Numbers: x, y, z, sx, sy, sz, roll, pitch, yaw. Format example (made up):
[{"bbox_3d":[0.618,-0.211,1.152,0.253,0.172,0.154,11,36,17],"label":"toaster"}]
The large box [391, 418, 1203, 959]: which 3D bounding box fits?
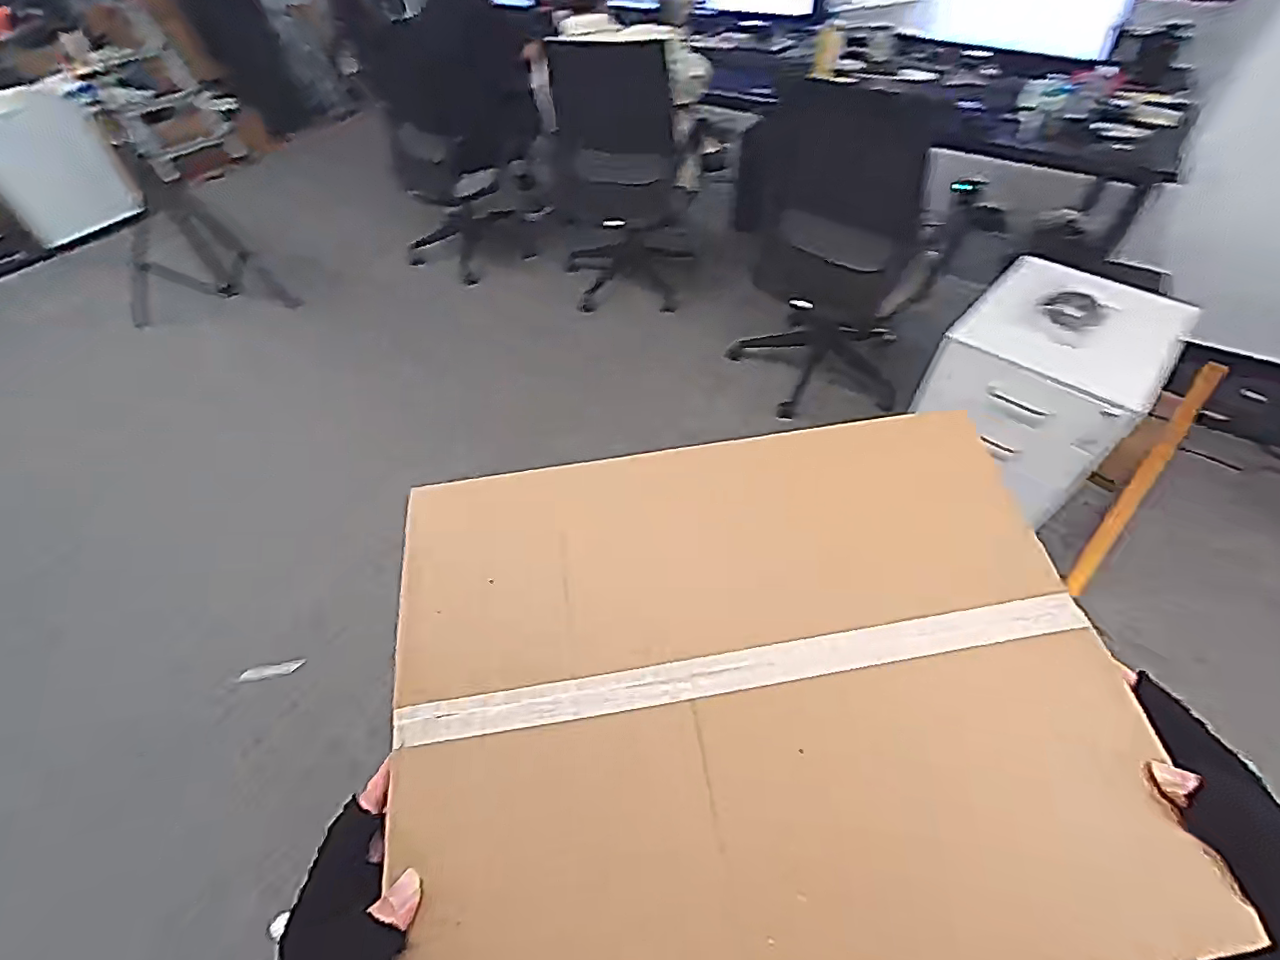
[{"bbox_3d":[0.062,0.190,0.451,0.408,0.320,0.320,-10,60,-3],"label":"large box"}]
